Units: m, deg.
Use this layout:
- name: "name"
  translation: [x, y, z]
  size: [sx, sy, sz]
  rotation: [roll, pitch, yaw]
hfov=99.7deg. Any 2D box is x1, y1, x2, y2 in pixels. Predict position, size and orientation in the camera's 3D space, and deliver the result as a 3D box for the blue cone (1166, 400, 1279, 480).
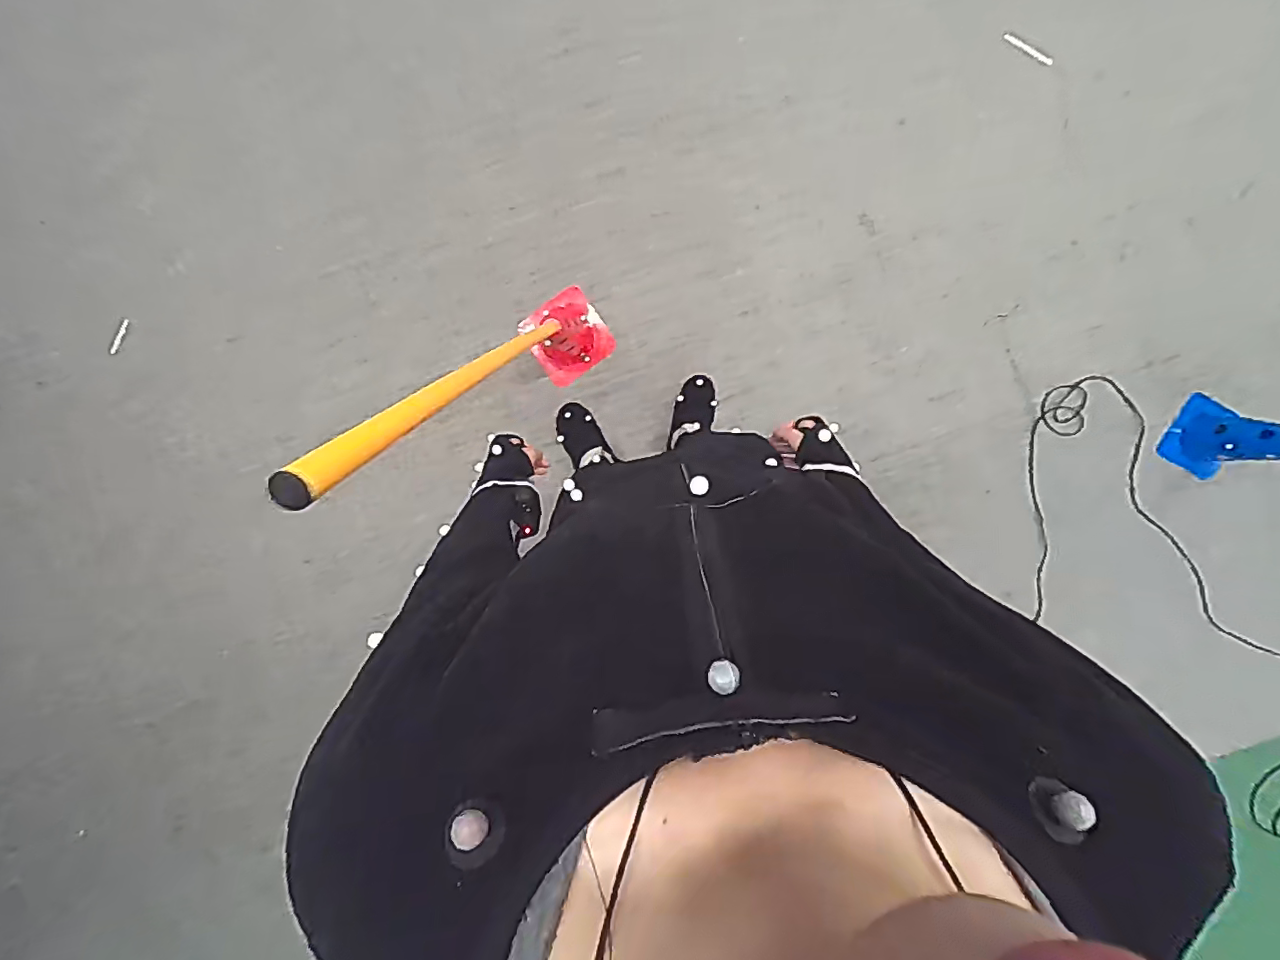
- name: "blue cone"
  translation: [1.612, -0.090, 1.371]
  size: [0.192, 0.380, 0.193]
  rotation: [25, 96, -6]
